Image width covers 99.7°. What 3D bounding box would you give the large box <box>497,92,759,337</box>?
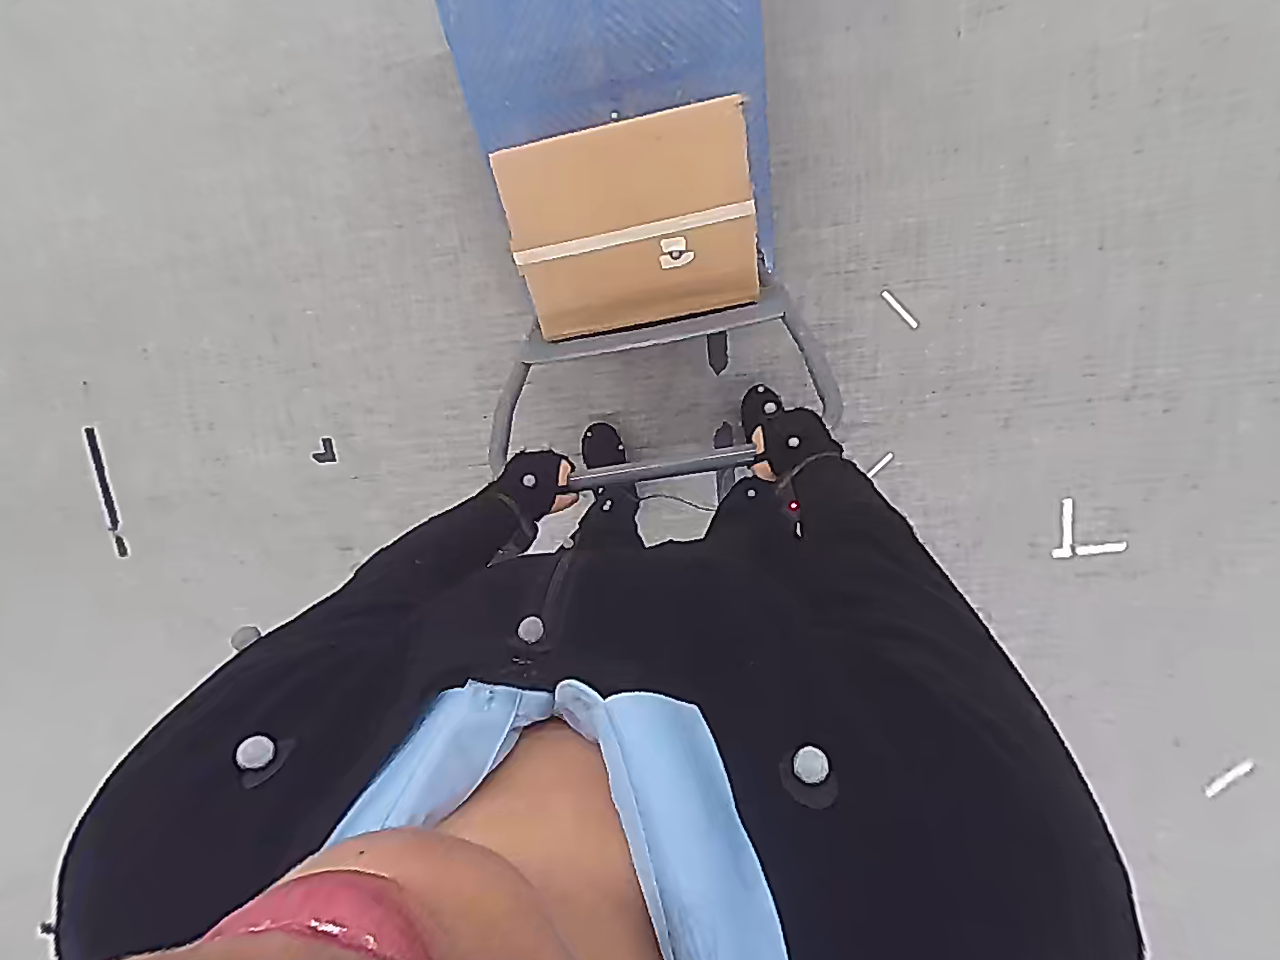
[{"bbox_3d":[-0.010,-0.511,1.052,0.408,0.320,0.320,-10,123,6],"label":"large box"}]
